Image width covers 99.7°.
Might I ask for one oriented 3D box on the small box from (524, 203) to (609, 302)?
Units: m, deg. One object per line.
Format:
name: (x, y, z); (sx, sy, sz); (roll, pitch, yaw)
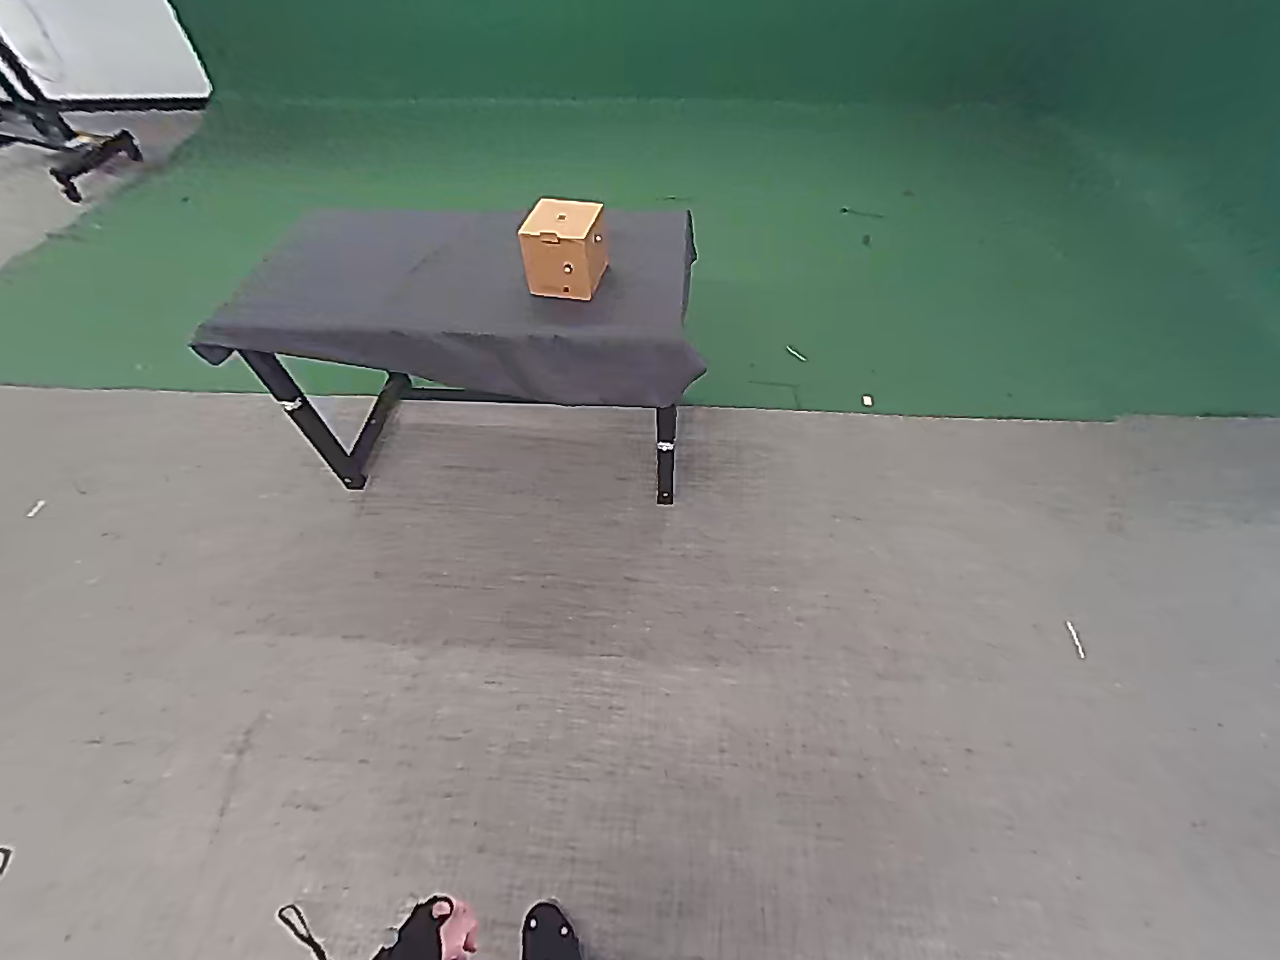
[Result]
small box: (-0.180, -0.581, 1.388); (0.168, 0.176, 0.179); (11, 52, 8)
